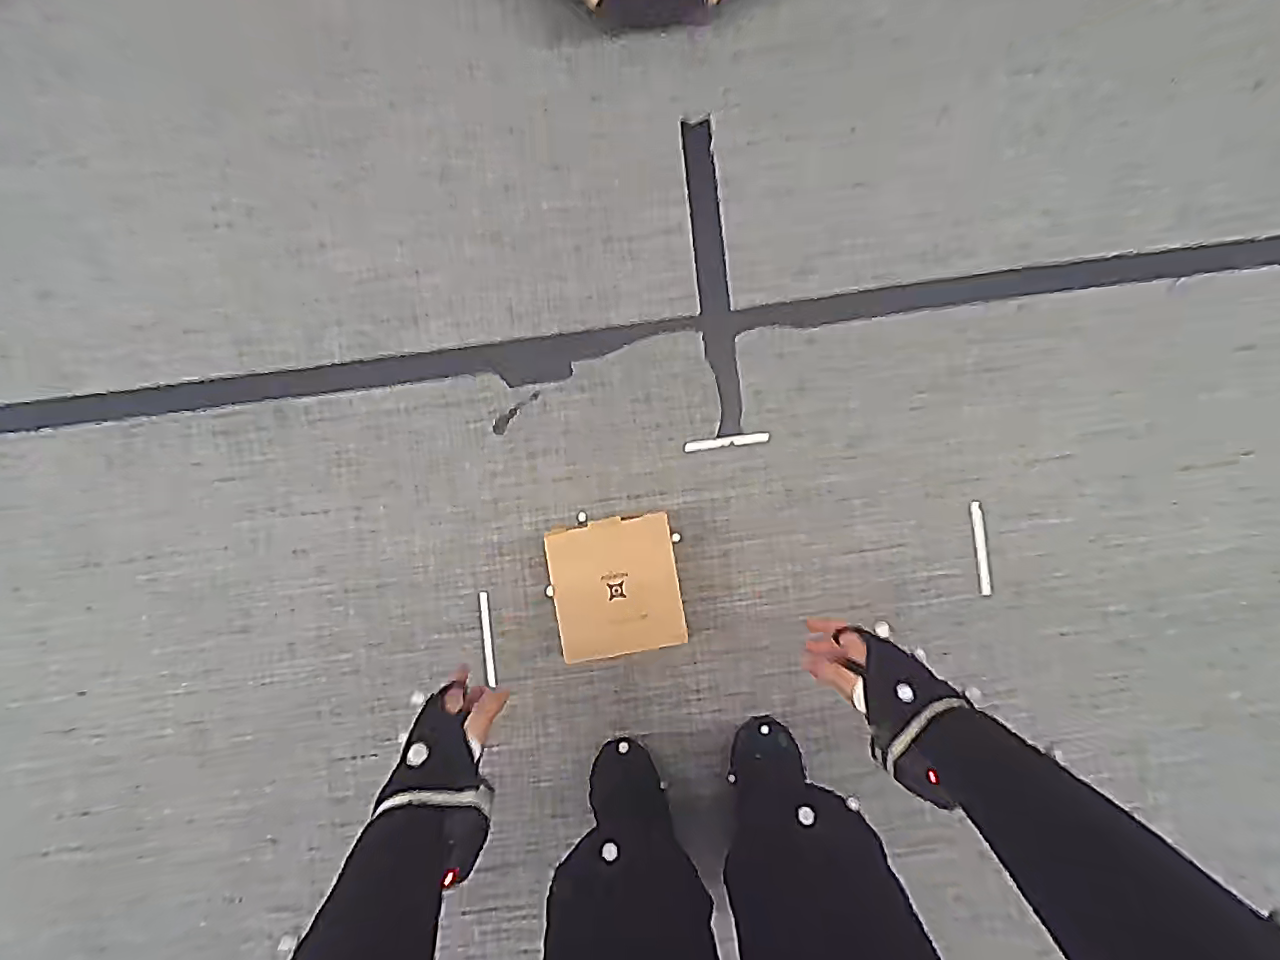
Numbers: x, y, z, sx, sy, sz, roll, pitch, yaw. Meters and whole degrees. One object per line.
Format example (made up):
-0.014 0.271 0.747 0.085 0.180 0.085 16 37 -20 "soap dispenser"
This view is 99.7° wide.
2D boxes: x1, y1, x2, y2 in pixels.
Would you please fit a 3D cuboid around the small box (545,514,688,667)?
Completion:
-0.031 0.147 0.783 0.168 0.176 0.179 -11 89 1 "small box"
